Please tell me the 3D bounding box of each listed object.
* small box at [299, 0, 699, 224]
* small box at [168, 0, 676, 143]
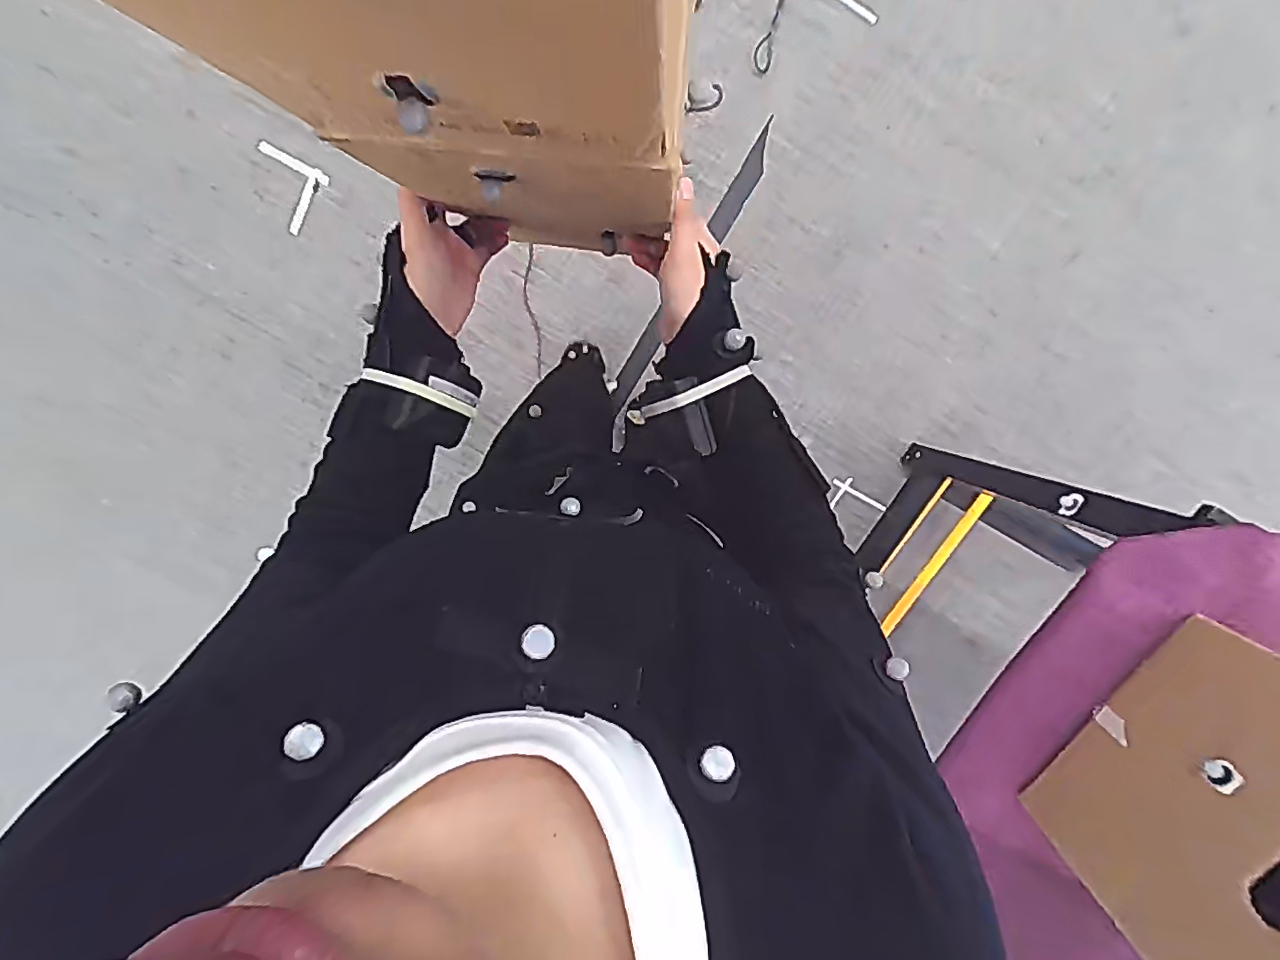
[{"bbox_3d":[-0.058,-0.253,0.304,0.179,0.176,0.168,6,105,1],"label":"small box"},{"bbox_3d":[-0.067,-0.220,0.145,0.168,0.176,0.179,5,106,2],"label":"small box"}]
